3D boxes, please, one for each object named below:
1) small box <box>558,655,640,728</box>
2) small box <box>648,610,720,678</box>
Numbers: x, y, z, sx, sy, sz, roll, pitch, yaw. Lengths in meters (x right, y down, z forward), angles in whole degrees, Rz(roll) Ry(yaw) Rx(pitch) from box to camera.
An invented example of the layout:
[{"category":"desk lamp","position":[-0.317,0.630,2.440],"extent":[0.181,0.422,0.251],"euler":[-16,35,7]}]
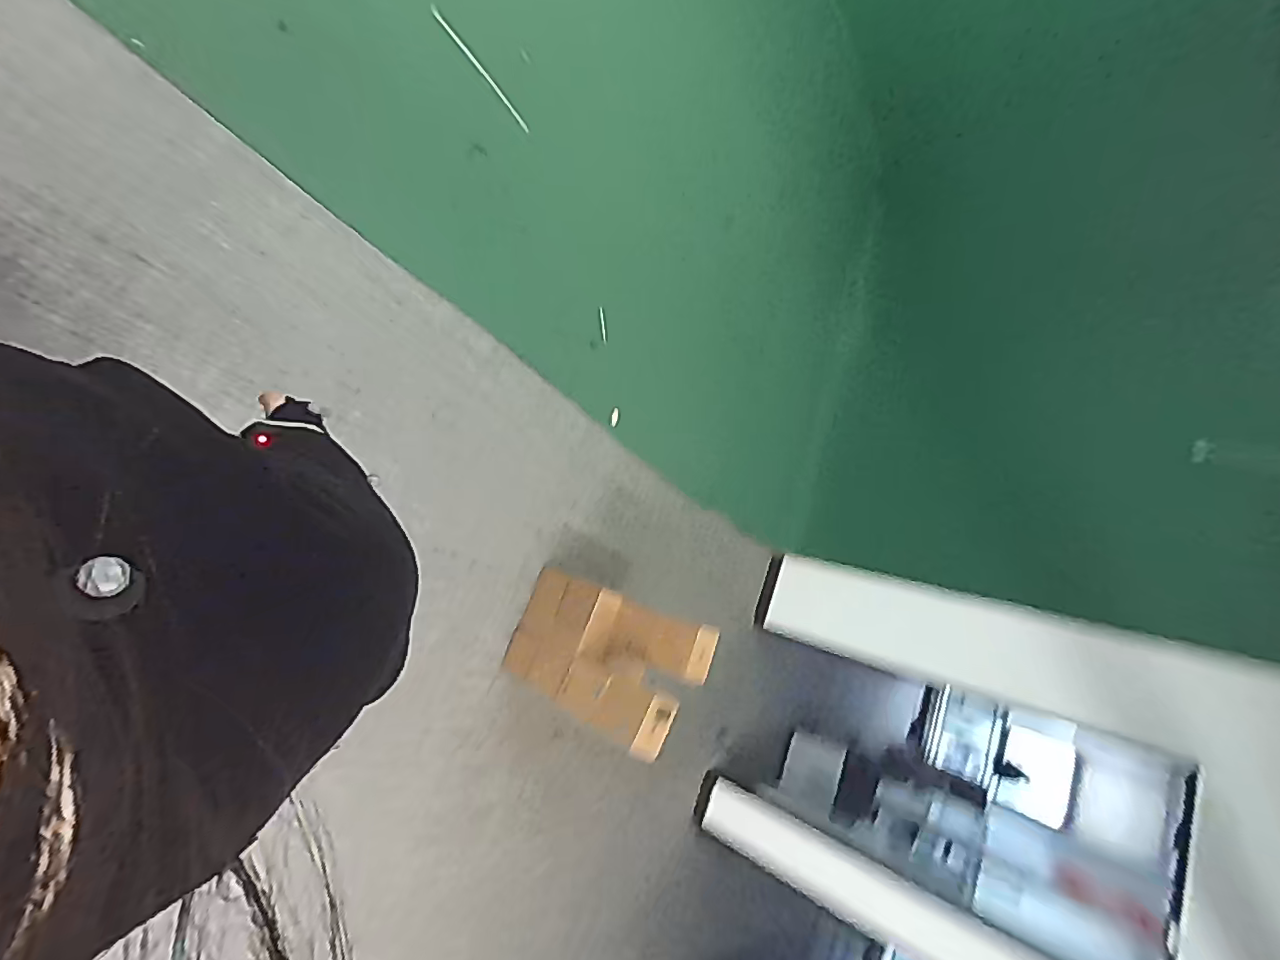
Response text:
[{"category":"small box","position":[-0.137,0.700,1.796],"extent":[0.179,0.176,0.168],"euler":[42,66,-48]},{"category":"small box","position":[0.149,0.561,1.863],"extent":[0.168,0.176,0.179],"euler":[35,71,-51]}]
